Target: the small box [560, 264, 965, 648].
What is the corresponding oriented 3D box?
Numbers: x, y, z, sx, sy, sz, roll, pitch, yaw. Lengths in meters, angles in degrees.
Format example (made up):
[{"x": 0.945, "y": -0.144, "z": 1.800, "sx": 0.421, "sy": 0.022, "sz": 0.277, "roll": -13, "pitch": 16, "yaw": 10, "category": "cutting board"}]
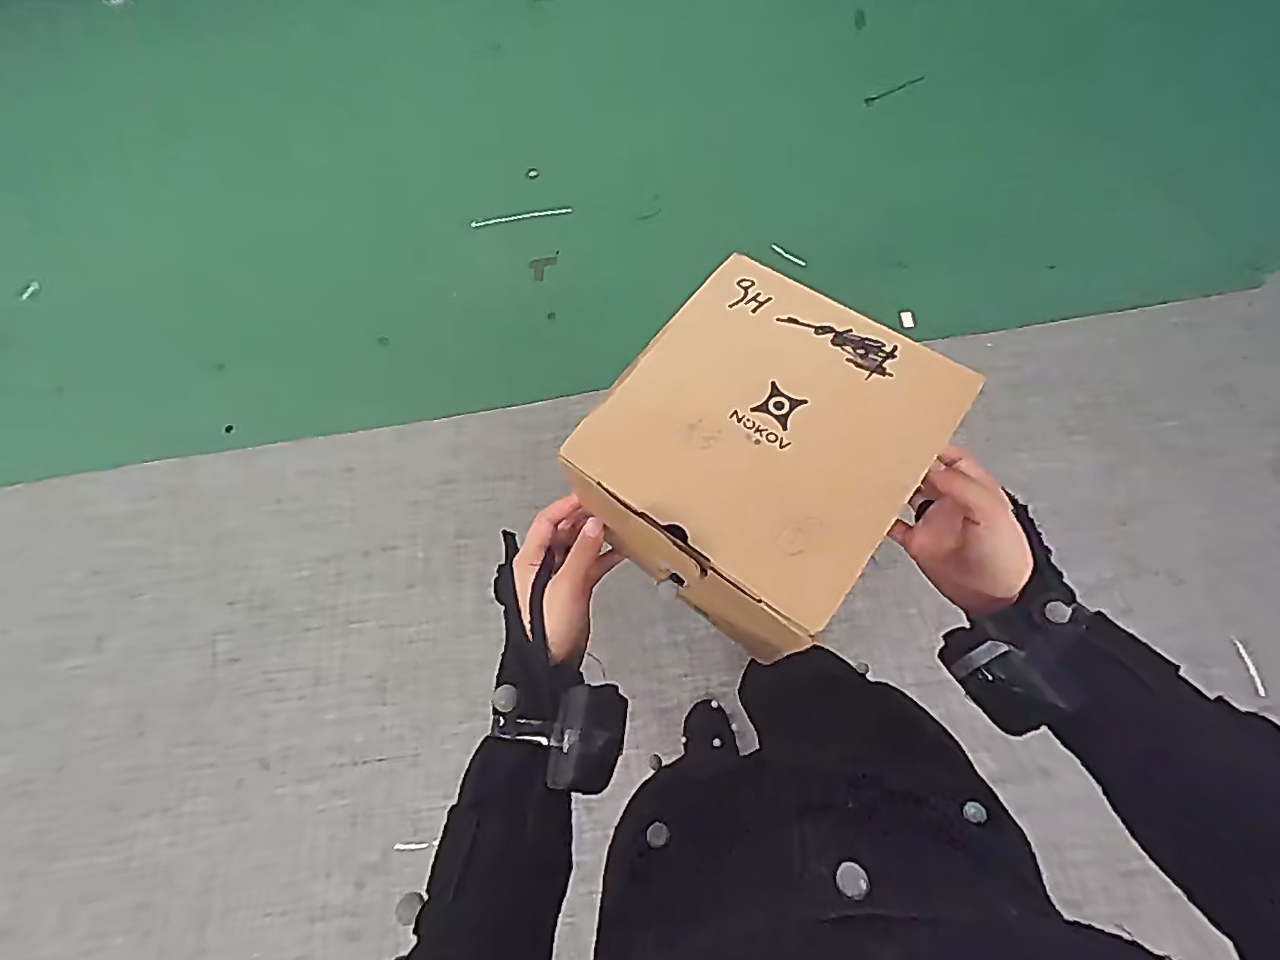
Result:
[{"x": 0.077, "y": -0.002, "z": 0.380, "sx": 0.168, "sy": 0.176, "sz": 0.179, "roll": 35, "pitch": 76, "yaw": 18, "category": "small box"}]
